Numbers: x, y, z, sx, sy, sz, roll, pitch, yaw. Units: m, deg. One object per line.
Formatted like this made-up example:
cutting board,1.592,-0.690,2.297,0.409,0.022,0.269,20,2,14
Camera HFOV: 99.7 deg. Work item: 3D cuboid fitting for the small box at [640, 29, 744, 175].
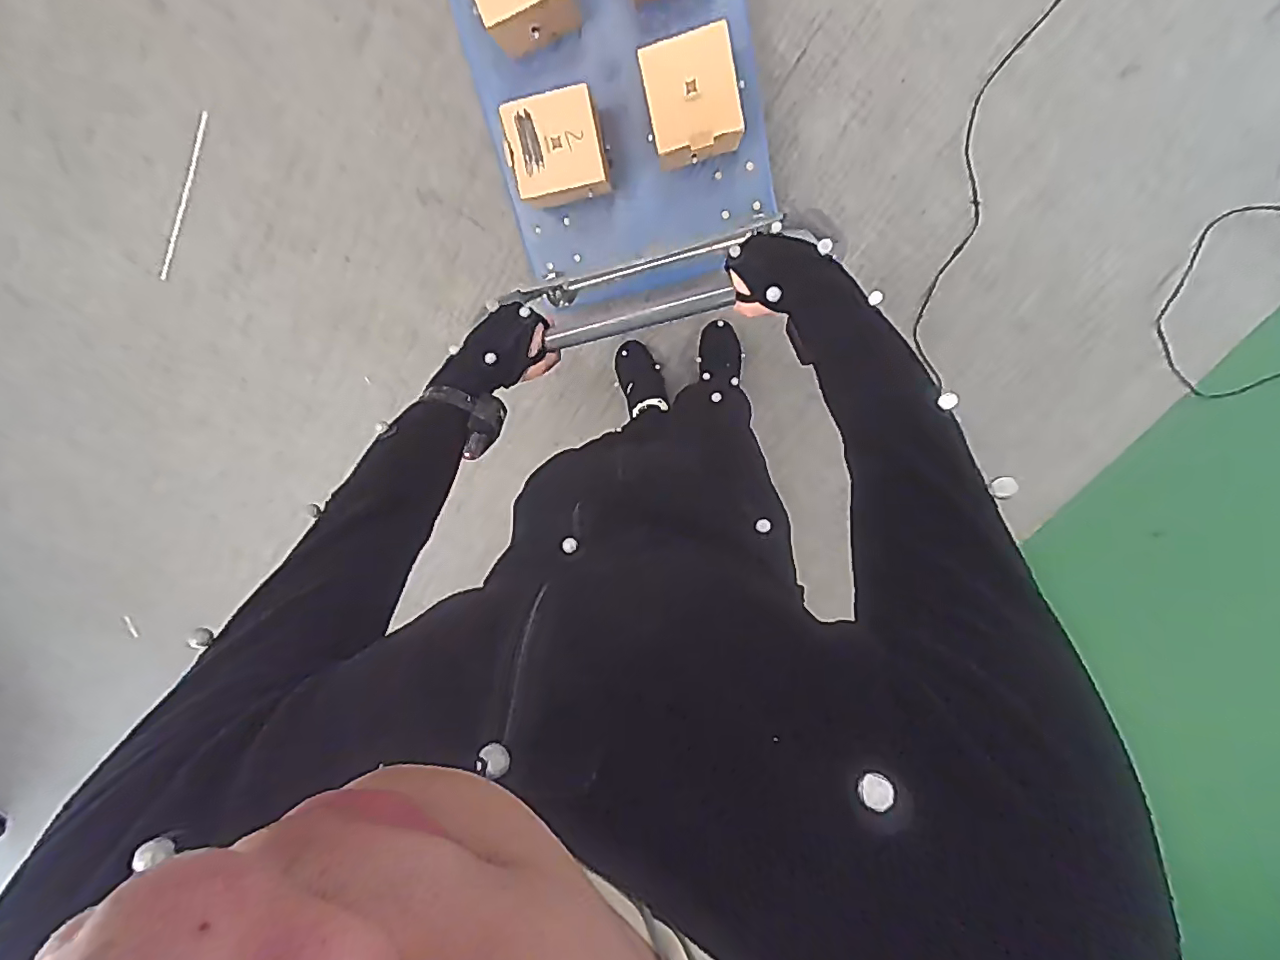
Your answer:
small box,0.101,-0.733,1.069,0.168,0.176,0.179,-13,110,9

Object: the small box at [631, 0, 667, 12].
small box,0.032,-1.004,0.968,0.168,0.176,0.179,-17,110,11

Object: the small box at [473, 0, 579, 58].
small box,-0.226,-0.933,1.013,0.168,0.176,0.179,-18,109,9
